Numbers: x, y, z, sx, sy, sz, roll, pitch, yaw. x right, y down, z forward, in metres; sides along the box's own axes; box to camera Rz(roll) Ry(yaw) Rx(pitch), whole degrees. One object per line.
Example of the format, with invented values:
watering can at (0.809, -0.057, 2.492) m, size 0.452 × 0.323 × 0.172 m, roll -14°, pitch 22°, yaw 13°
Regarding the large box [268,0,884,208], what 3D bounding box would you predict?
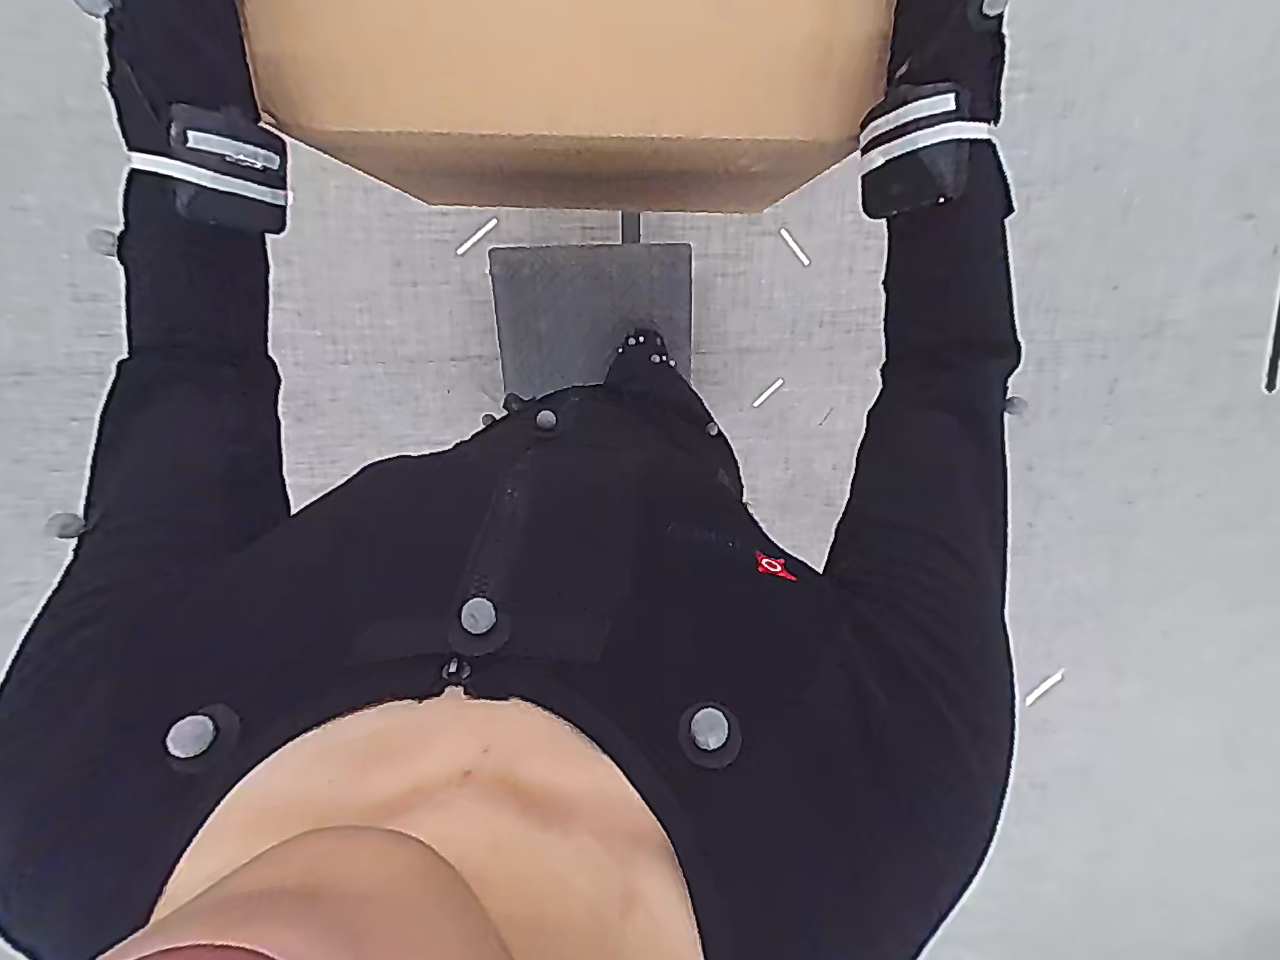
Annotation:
large box at (-0.045, -0.432, 0.464) m, size 0.408 × 0.320 × 0.320 m, roll -1°, pitch 109°, yaw -2°
